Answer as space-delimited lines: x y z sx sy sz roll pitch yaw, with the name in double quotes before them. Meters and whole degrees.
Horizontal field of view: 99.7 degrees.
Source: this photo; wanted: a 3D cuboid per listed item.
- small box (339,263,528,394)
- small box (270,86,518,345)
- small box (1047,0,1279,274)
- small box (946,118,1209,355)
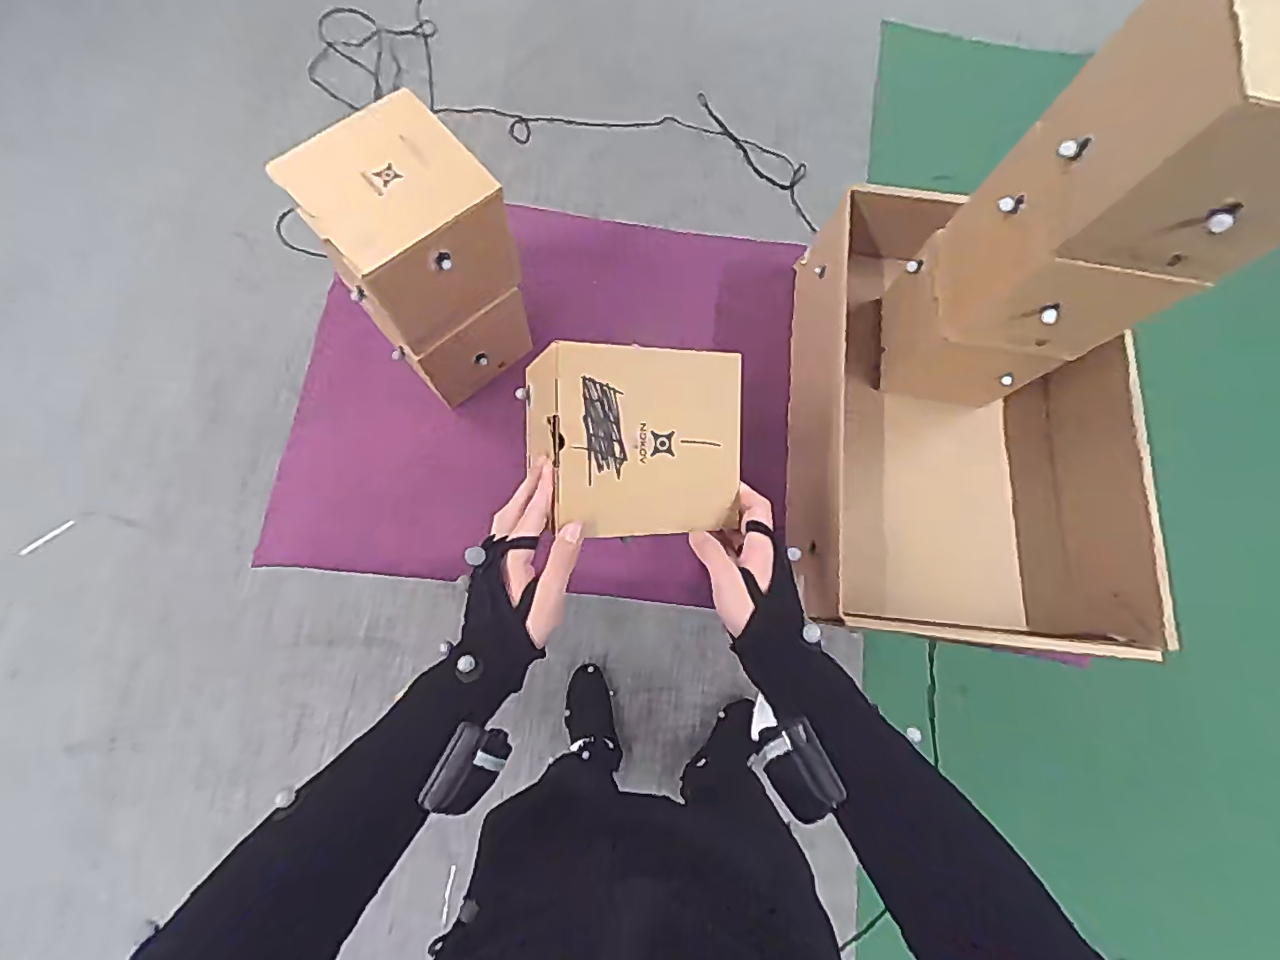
"small box" -0.282 -0.247 0.785 0.168 0.176 0.179 -40 82 -13
"small box" -0.264 -0.291 0.629 0.179 0.176 0.168 -40 83 -13
"small box" 0.488 -0.304 0.461 0.168 0.176 0.179 9 77 -1
"small box" 0.478 -0.264 0.620 0.168 0.176 0.179 9 76 -1
